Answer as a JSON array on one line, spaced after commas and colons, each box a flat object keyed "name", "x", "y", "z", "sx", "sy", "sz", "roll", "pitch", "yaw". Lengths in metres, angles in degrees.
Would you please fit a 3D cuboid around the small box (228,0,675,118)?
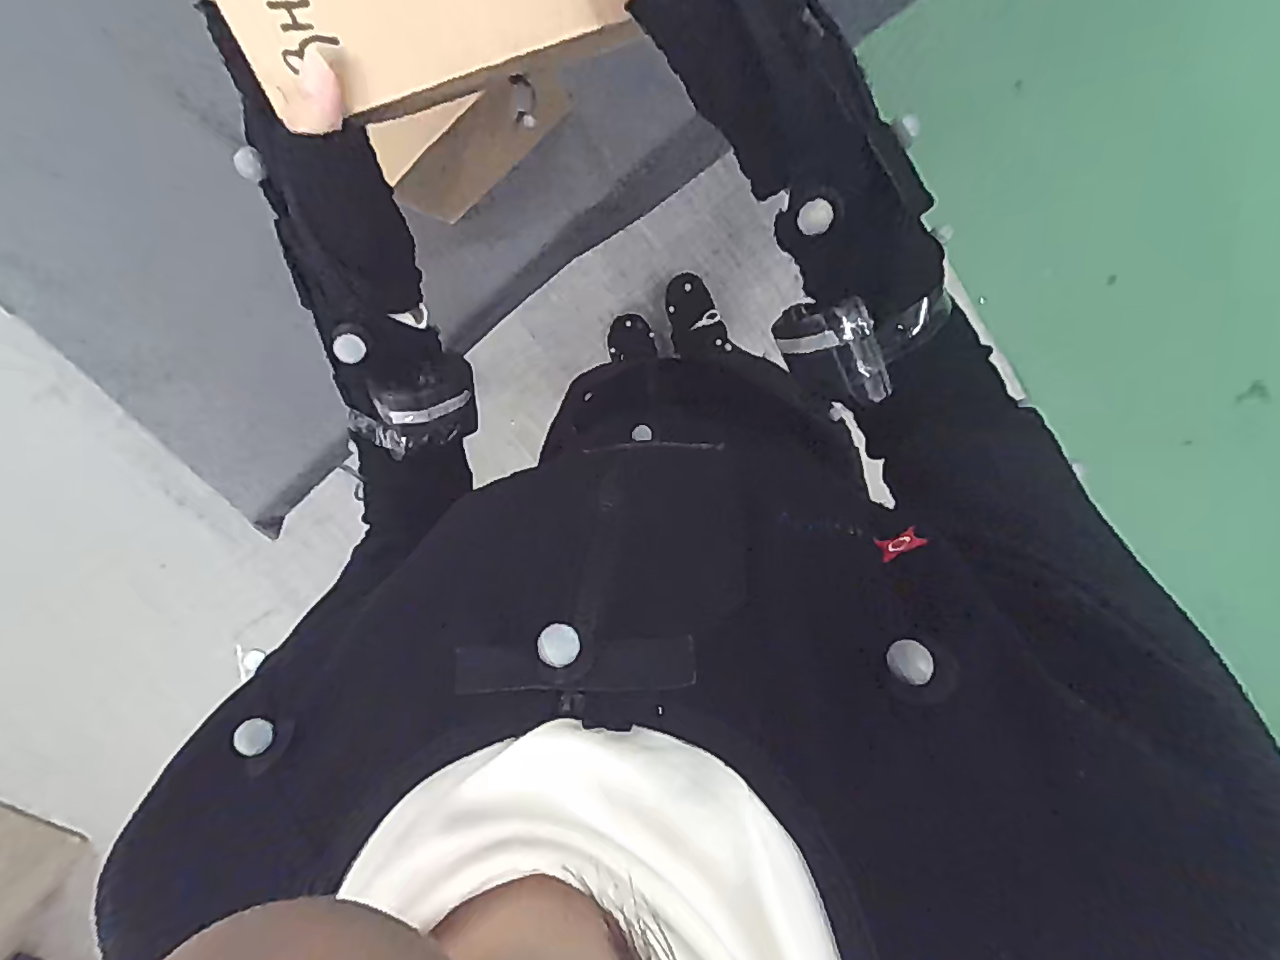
[{"name": "small box", "x": -0.091, "y": -0.284, "z": 0.242, "sx": 0.179, "sy": 0.176, "sz": 0.168, "roll": -13, "pitch": 125, "yaw": 6}]

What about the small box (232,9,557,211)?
[{"name": "small box", "x": -0.191, "y": -0.375, "z": 0.482, "sx": 0.179, "sy": 0.176, "sz": 0.168, "roll": -38, "pitch": 103, "yaw": 14}]
